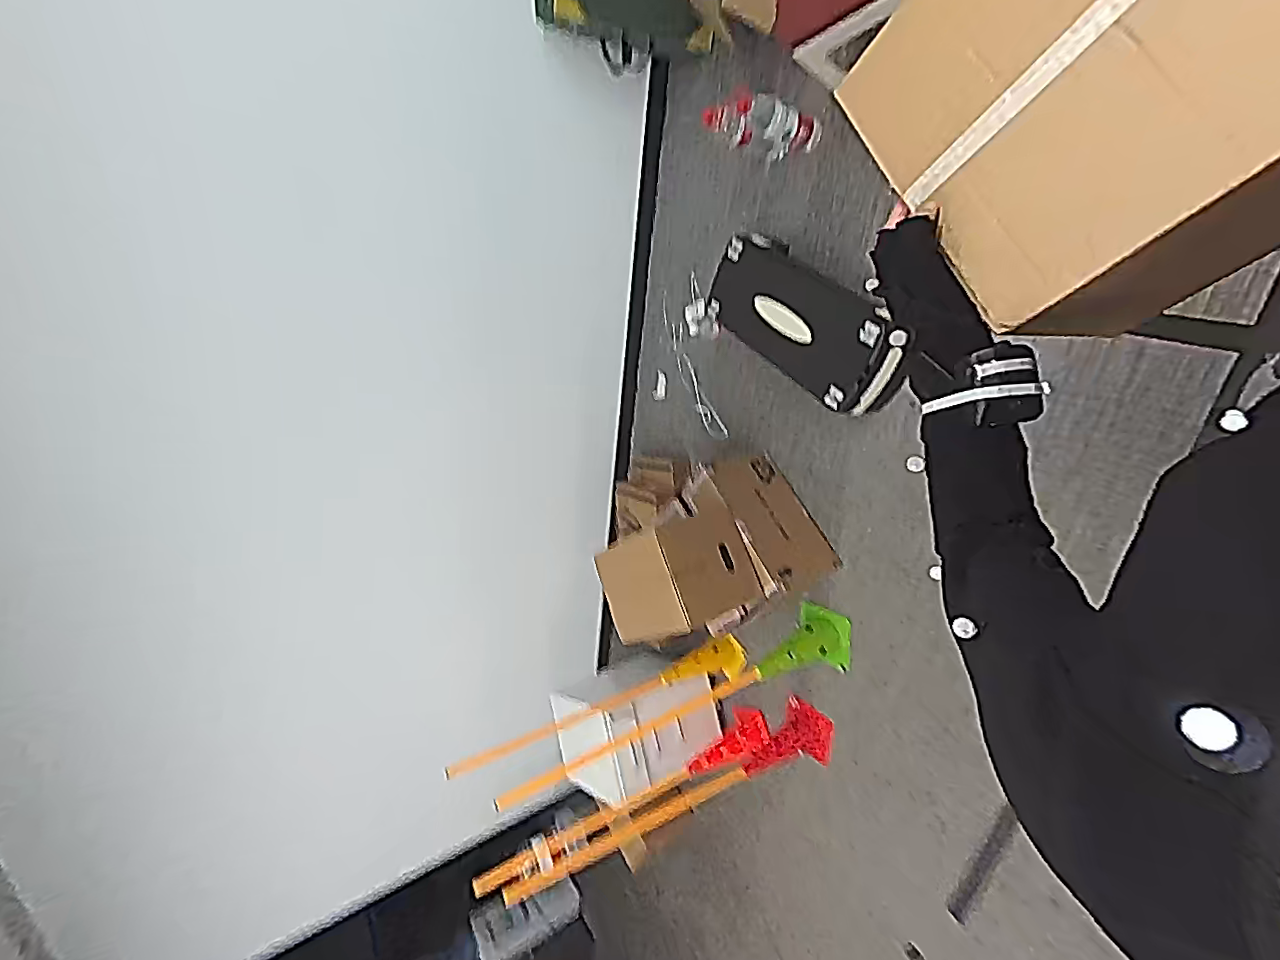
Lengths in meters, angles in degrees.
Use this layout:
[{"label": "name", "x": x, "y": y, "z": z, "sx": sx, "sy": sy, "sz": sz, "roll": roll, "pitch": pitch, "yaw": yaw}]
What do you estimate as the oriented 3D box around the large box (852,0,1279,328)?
[{"label": "large box", "x": 0.478, "y": -0.377, "z": 0.443, "sx": 0.408, "sy": 0.320, "sz": 0.320, "roll": -41, "pitch": 65, "yaw": 51}]
